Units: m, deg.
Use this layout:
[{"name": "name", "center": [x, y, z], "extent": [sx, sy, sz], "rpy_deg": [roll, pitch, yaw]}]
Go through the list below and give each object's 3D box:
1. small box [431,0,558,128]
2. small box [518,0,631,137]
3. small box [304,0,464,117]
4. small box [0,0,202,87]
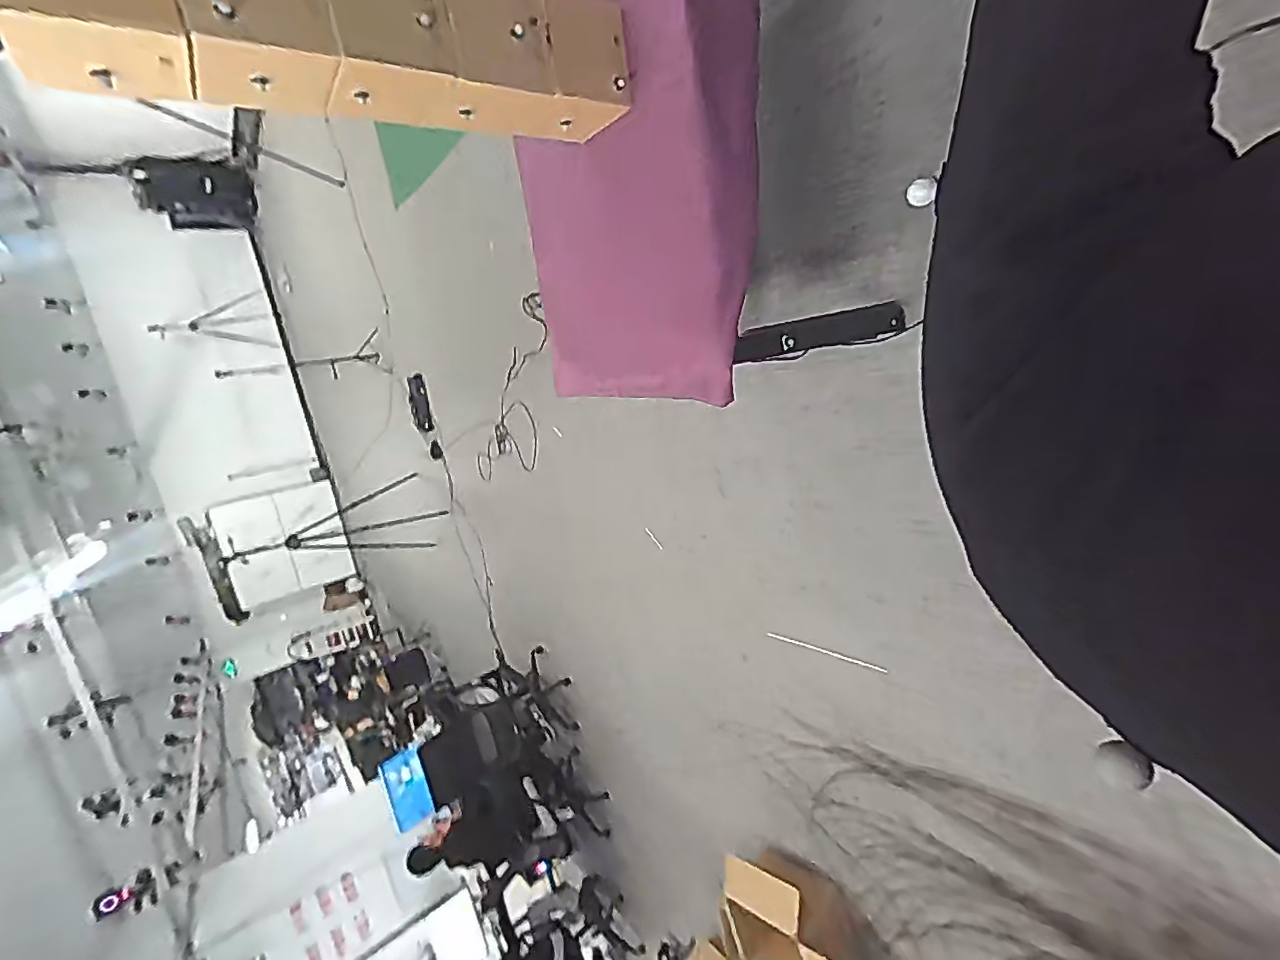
[{"name": "small box", "center": [-0.261, -0.723, 0.914], "extent": [0.179, 0.176, 0.168], "rpy_deg": [8, 111, 50]}, {"name": "small box", "center": [-0.130, -0.766, 1.004], "extent": [0.179, 0.176, 0.168], "rpy_deg": [9, 112, 51]}, {"name": "small box", "center": [-0.388, -0.683, 0.822], "extent": [0.179, 0.176, 0.168], "rpy_deg": [8, 112, 51]}, {"name": "small box", "center": [-0.643, -0.597, 0.637], "extent": [0.168, 0.176, 0.179], "rpy_deg": [8, 111, 52]}]
